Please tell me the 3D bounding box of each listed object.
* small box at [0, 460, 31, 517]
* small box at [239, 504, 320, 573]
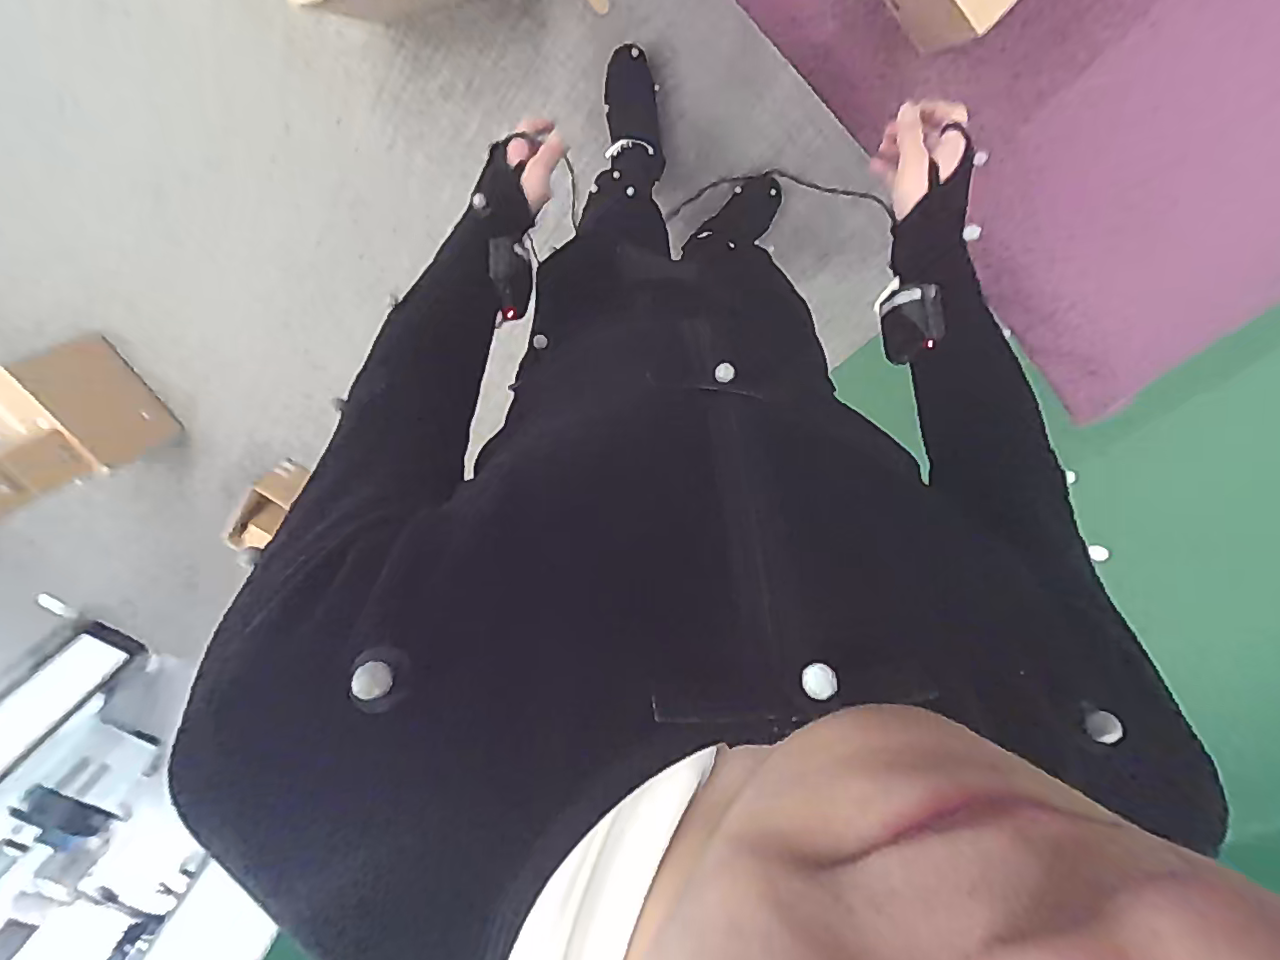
[{"bbox_3d":[-1.944,0.042,1.549,0.179,0.176,0.168,-3,123,10],"label":"small box"},{"bbox_3d":[-1.387,0.219,2.086,0.179,0.176,0.168,35,122,-14],"label":"small box"}]
